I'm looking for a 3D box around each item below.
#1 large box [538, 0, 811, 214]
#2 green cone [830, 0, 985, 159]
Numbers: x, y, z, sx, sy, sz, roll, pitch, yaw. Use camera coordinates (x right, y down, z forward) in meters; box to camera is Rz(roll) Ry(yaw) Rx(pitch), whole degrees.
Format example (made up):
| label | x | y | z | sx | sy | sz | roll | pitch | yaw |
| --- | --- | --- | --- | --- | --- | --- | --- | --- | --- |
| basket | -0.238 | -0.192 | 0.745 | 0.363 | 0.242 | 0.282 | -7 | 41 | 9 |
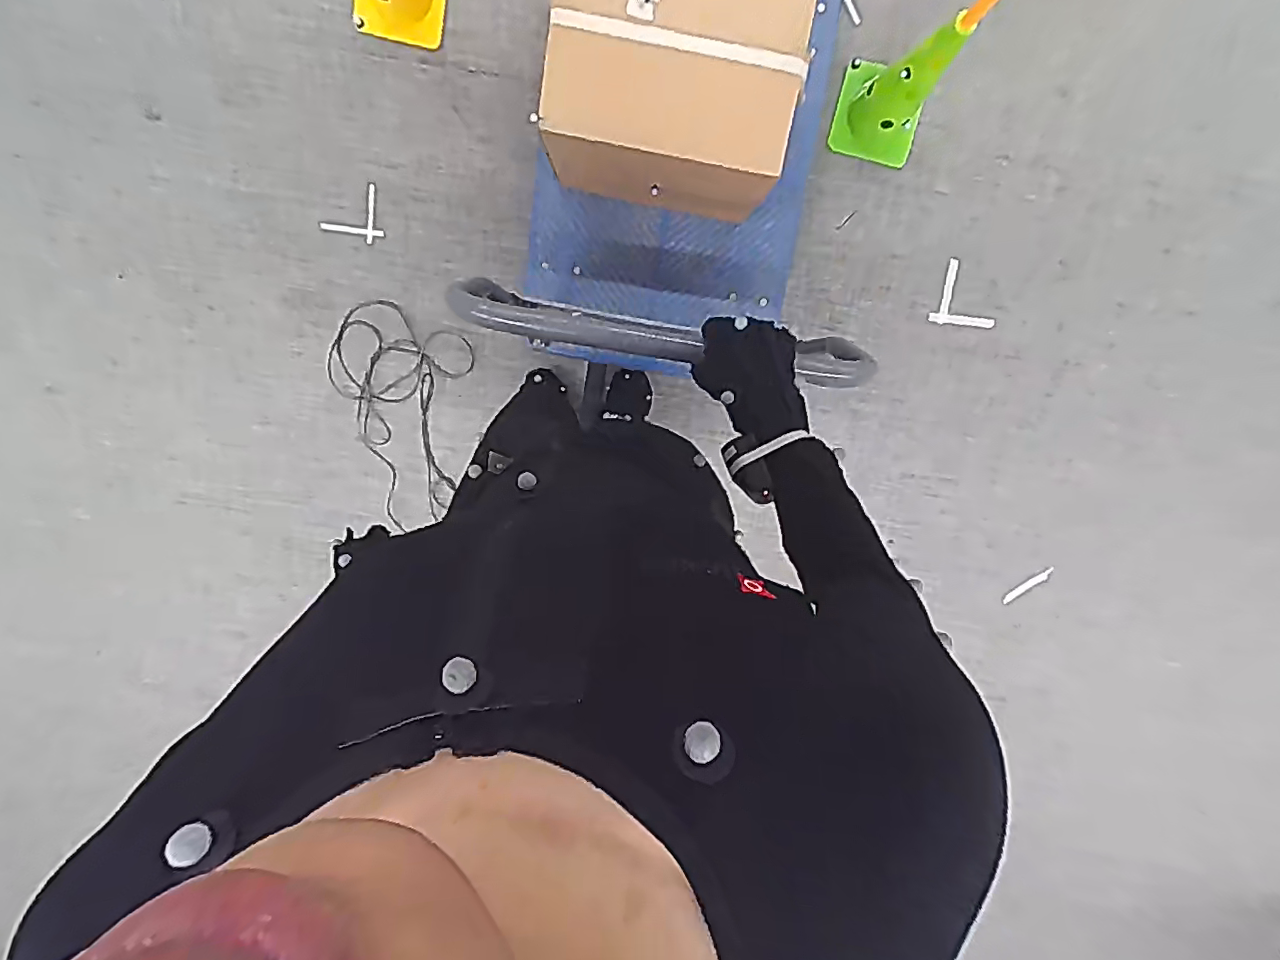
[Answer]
| label | x | y | z | sx | sy | sz | roll | pitch | yaw |
| --- | --- | --- | --- | --- | --- | --- | --- | --- | --- |
| large box | 0.055 | -0.714 | 0.993 | 0.408 | 0.320 | 0.320 | 10 | 102 | -2 |
| green cone | 0.572 | -0.853 | 1.118 | 0.202 | 0.368 | 0.200 | 12 | 102 | -5 |
